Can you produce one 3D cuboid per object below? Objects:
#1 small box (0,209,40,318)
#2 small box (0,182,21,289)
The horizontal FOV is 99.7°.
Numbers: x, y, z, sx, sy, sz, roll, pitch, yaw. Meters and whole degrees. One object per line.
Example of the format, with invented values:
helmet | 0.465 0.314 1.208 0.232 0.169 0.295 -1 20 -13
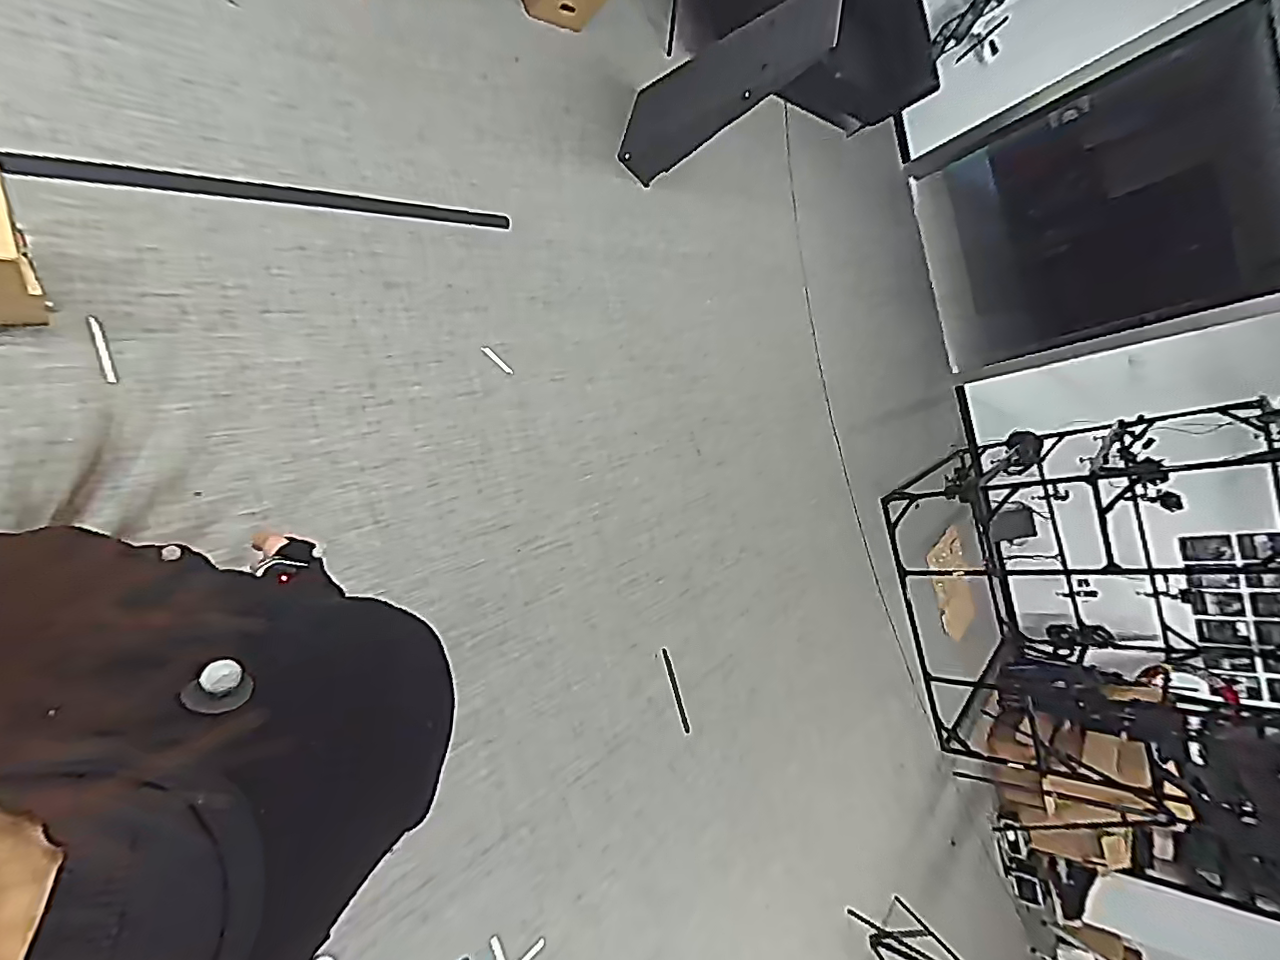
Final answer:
small box | -1.320 -0.422 1.054 0.179 0.176 0.168 -19 96 -43
small box | -1.214 -0.453 0.933 0.168 0.176 0.179 -12 92 -45
